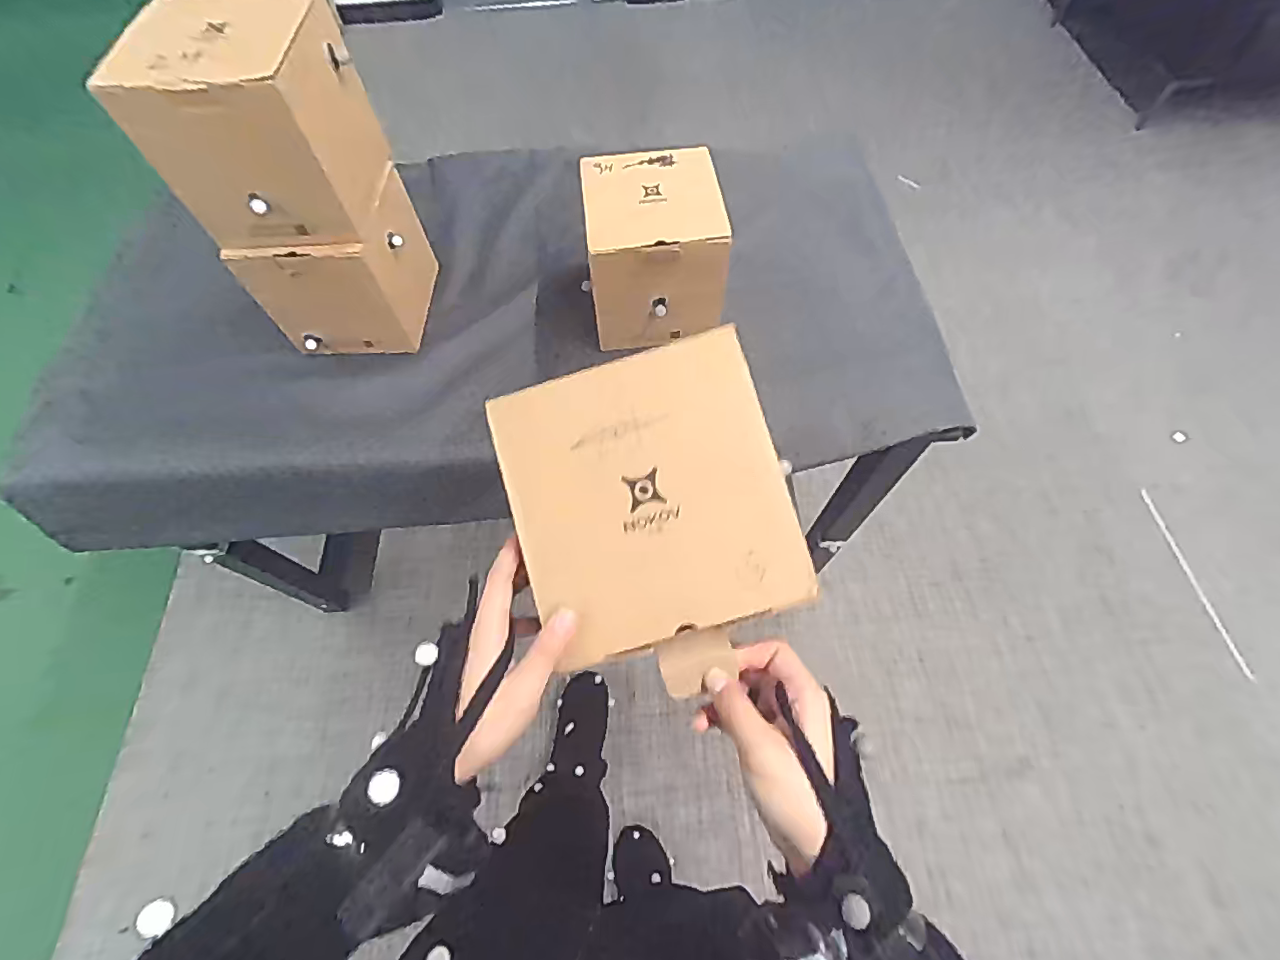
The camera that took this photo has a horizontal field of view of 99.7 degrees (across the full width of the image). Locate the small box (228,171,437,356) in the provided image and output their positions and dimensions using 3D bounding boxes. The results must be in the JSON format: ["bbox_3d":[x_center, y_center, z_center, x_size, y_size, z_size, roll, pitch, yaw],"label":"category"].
[{"bbox_3d":[-0.392,-0.283,0.729,0.168,0.176,0.179,-1,61,1],"label":"small box"}]

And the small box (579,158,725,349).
[{"bbox_3d":[0.014,-0.292,0.723,0.168,0.176,0.179,-6,62,-2],"label":"small box"}]

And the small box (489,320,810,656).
[{"bbox_3d":[0.010,0.012,0.414,0.168,0.176,0.179,-18,81,3],"label":"small box"}]

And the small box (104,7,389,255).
[{"bbox_3d":[-0.399,-0.374,0.591,0.168,0.176,0.179,-3,62,0],"label":"small box"}]
